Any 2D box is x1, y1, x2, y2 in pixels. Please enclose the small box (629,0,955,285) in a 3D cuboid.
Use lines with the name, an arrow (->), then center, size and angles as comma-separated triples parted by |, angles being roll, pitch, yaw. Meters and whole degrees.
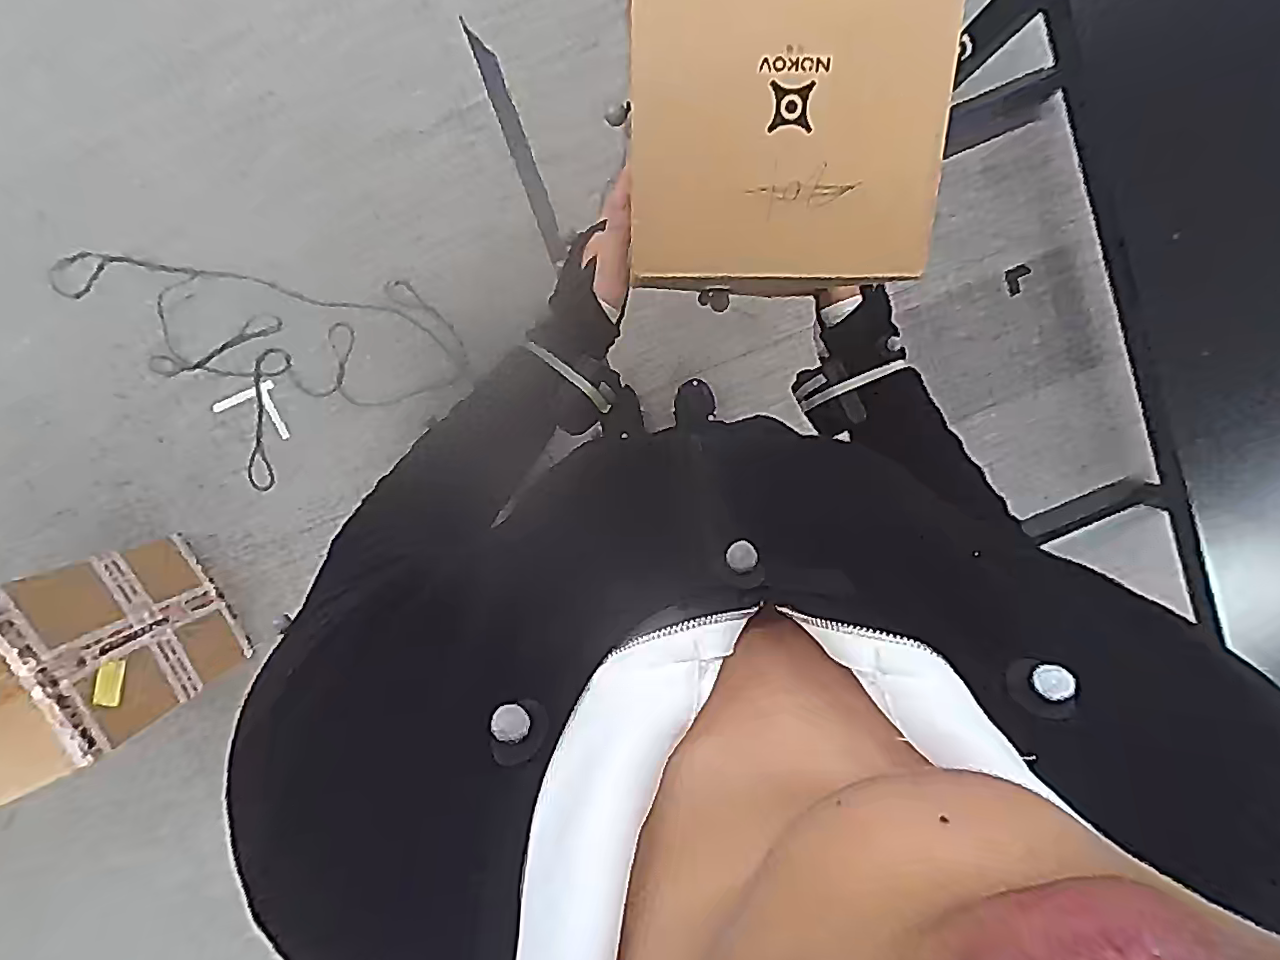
small box -> 0.076, -0.227, 0.361 | 0.168, 0.176, 0.179 | -1, 108, 0

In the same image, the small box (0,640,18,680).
small box -> -1.291, 0.331, 0.946 | 0.168, 0.176, 0.179 | -30, 98, -1
